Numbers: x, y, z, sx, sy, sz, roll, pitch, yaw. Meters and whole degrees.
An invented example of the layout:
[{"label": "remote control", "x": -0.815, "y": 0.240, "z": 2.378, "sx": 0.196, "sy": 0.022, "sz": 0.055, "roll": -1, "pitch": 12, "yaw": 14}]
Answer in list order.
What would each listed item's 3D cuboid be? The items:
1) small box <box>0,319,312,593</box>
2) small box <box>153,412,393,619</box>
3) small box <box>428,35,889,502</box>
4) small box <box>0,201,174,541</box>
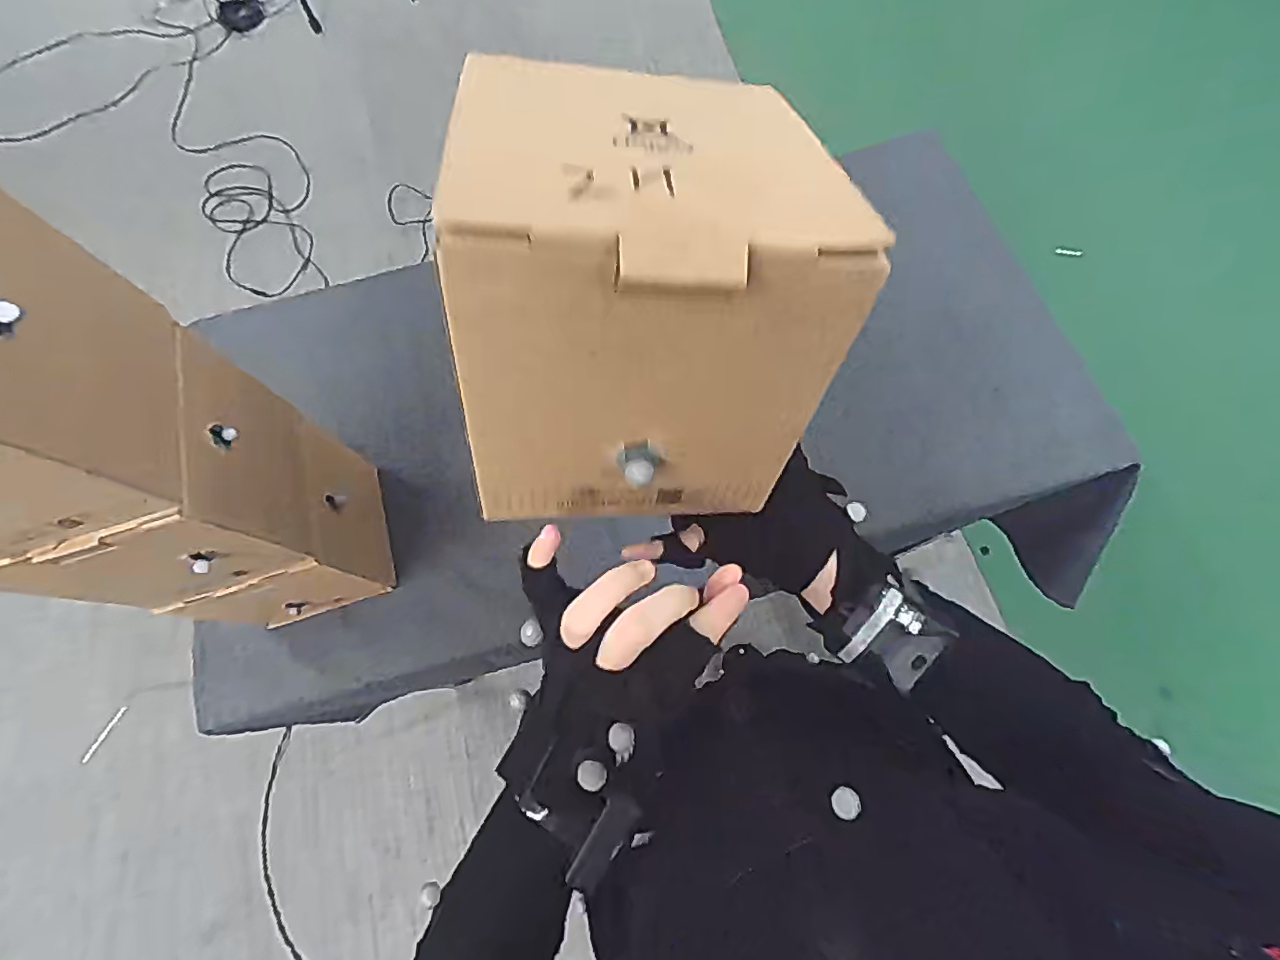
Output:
[{"label": "small box", "x": -0.423, "y": -0.006, "z": 0.481, "sx": 0.168, "sy": 0.176, "sz": 0.179, "roll": -16, "pitch": 71, "yaw": -4}, {"label": "small box", "x": -0.416, "y": 0.051, "z": 0.634, "sx": 0.168, "sy": 0.176, "sz": 0.179, "roll": -17, "pitch": 71, "yaw": -3}, {"label": "small box", "x": -0.007, "y": -0.106, "z": 0.298, "sx": 0.168, "sy": 0.176, "sz": 0.179, "roll": -1, "pitch": 53, "yaw": -9}, {"label": "small box", "x": -0.432, "y": -0.065, "z": 0.329, "sx": 0.168, "sy": 0.176, "sz": 0.179, "roll": -18, "pitch": 71, "yaw": -5}]
